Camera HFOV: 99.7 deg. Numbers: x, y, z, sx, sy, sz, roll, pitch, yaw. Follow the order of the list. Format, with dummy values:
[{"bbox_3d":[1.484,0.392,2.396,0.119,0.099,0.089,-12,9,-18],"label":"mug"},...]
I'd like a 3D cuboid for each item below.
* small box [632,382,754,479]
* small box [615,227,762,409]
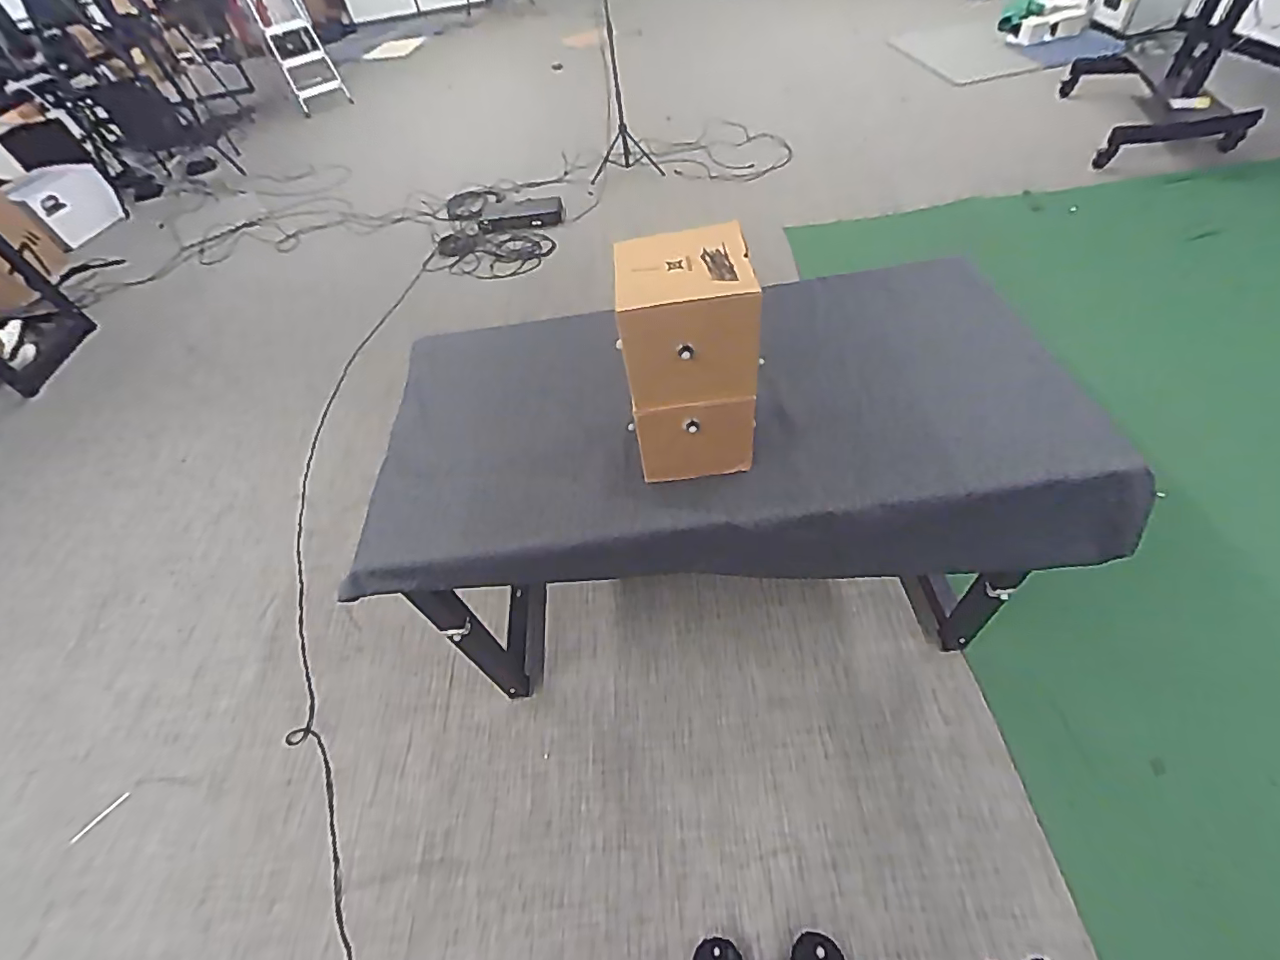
[{"bbox_3d":[0.081,-0.116,0.877,0.179,0.176,0.168,-6,52,2],"label":"small box"},{"bbox_3d":[0.064,-0.219,0.749,0.179,0.176,0.168,-7,52,5],"label":"small box"}]
